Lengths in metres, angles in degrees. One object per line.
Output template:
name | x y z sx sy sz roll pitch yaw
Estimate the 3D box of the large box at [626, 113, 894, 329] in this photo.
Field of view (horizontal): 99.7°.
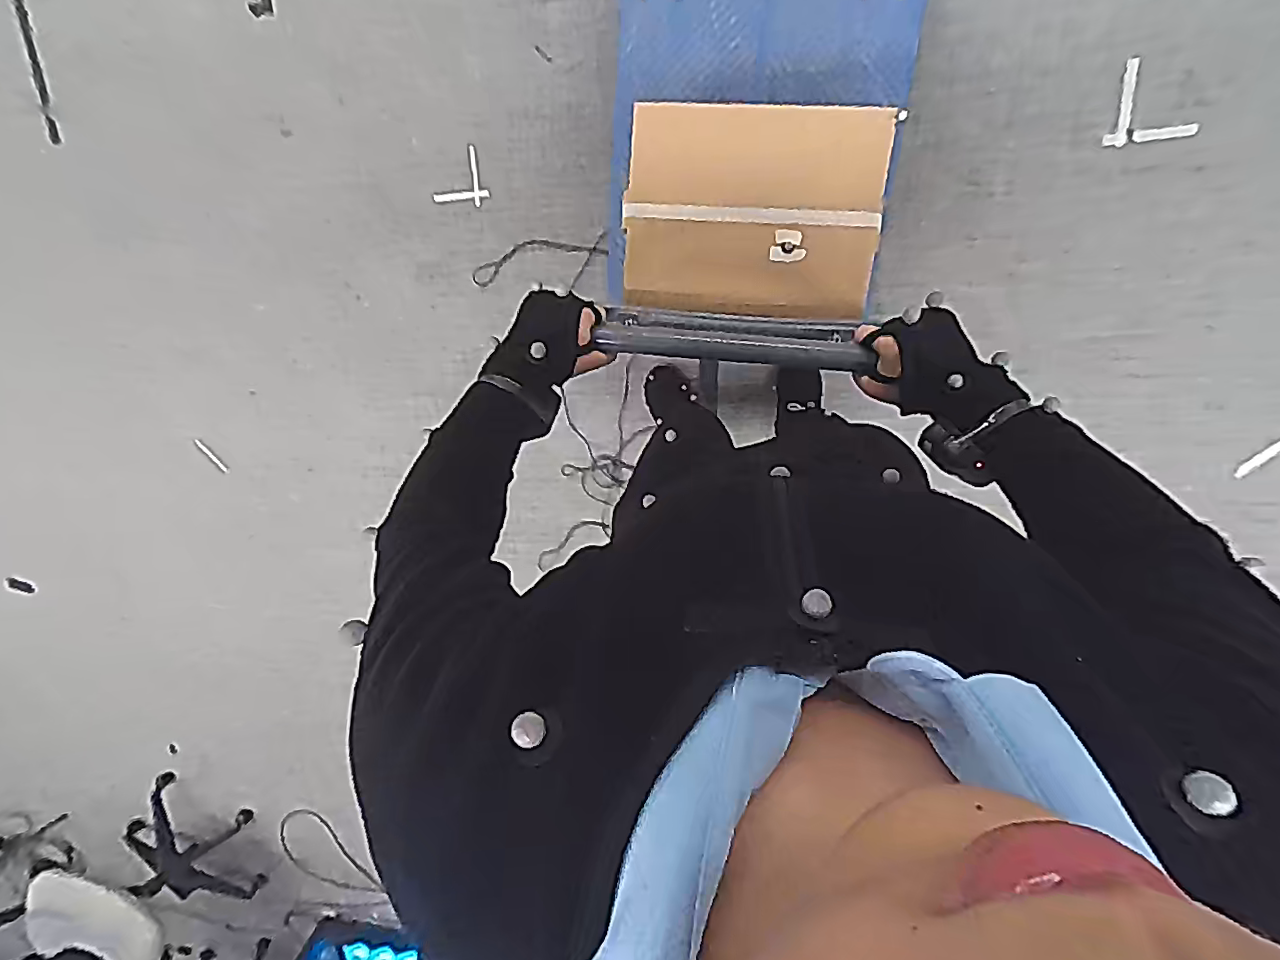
large box | 0.199 -0.457 1.019 0.408 0.320 0.320 6 107 7
